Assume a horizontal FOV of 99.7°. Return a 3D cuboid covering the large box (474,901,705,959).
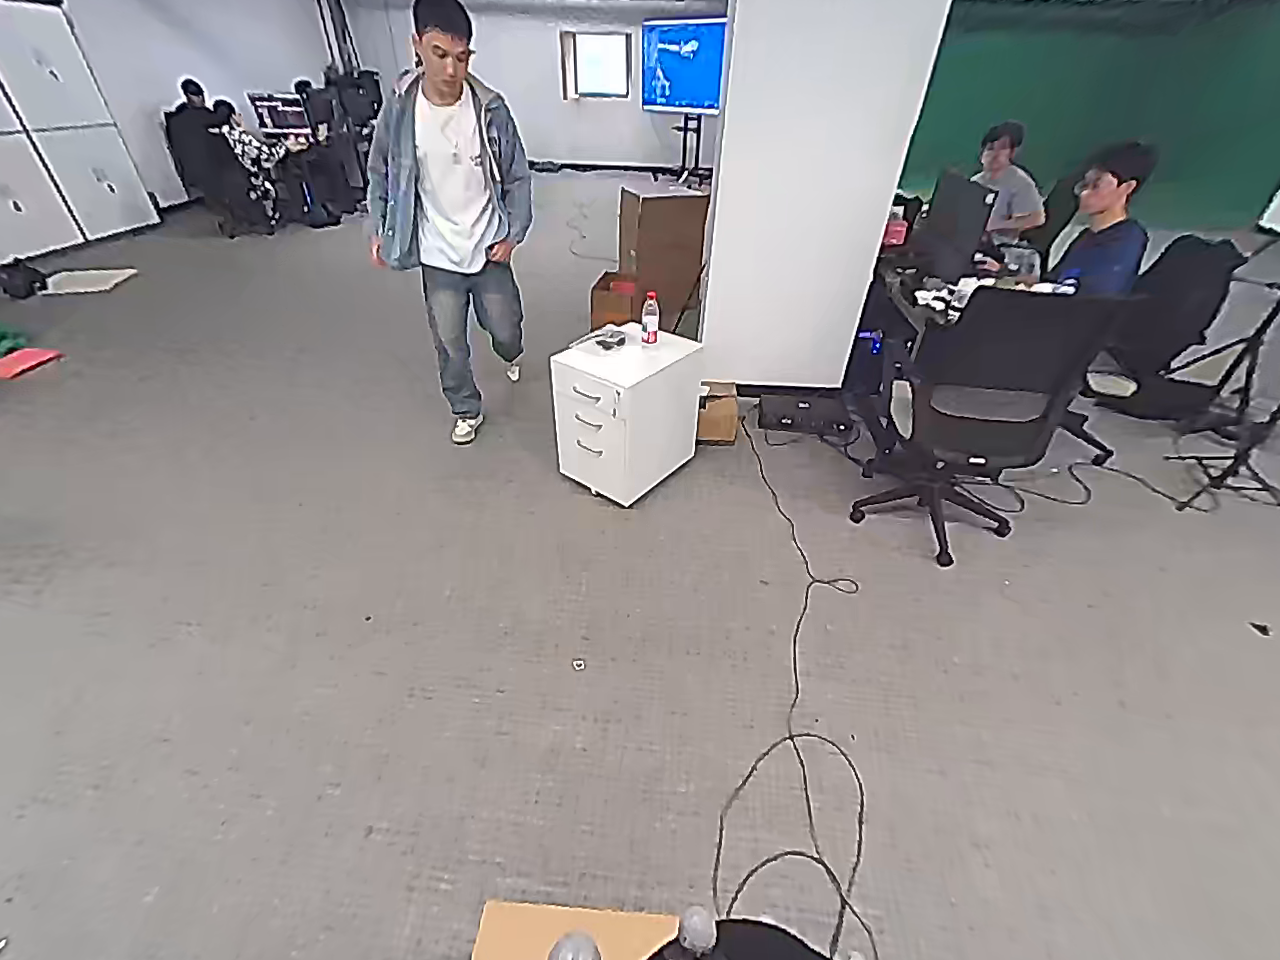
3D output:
[{"bbox_3d":[-0.097,0.996,0.952,0.408,0.320,0.320,4,36,2],"label":"large box"}]
